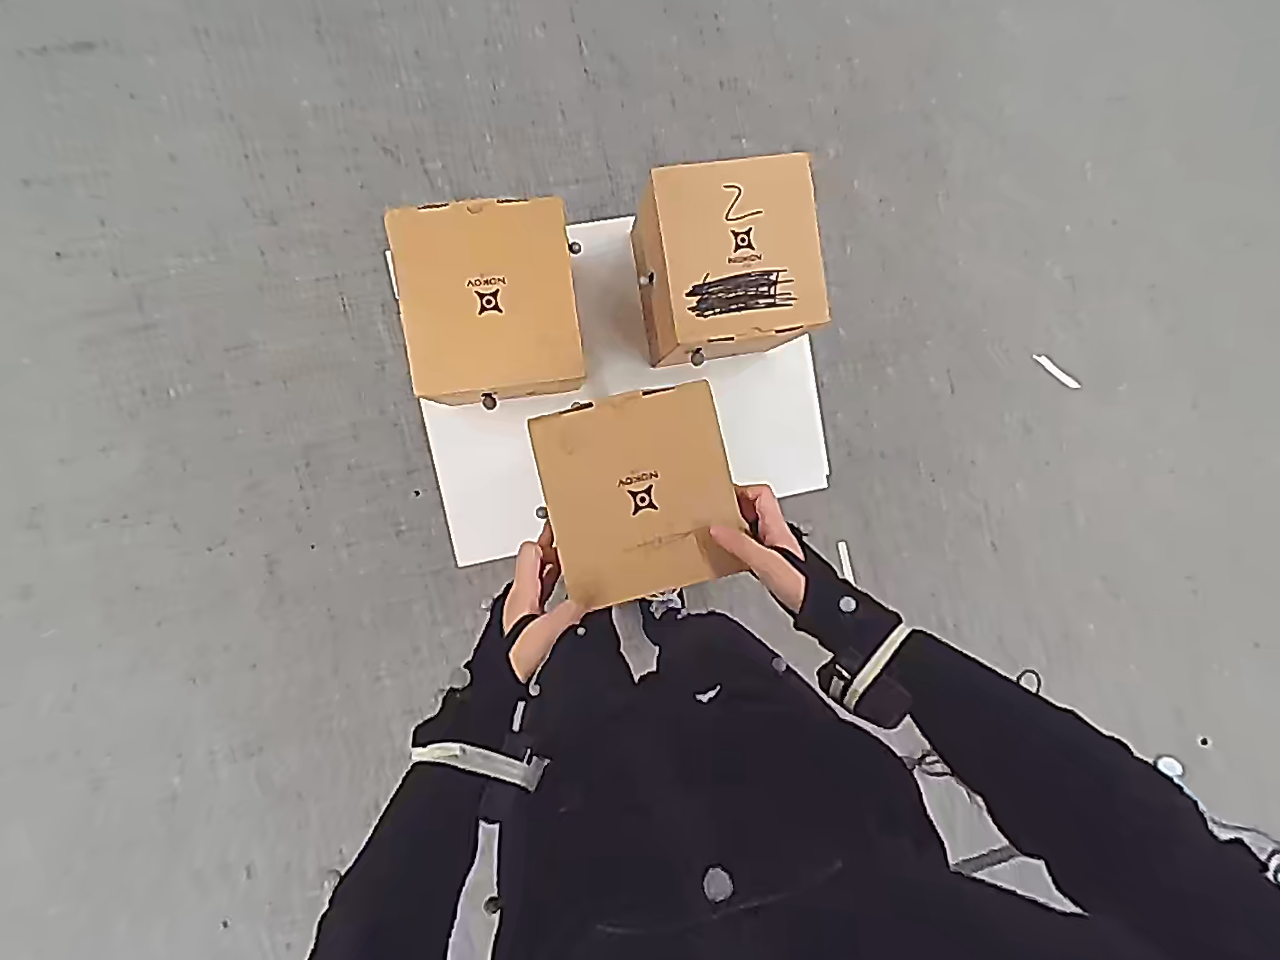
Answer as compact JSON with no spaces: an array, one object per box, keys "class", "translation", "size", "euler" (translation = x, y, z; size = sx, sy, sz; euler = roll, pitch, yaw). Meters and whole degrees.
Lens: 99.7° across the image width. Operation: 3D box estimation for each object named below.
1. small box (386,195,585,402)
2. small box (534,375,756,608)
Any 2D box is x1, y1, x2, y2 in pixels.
[{"class":"small box","translation":[-0.153,-0.182,0.592],"size":[0.168,0.176,0.179],"euler":[-9,95,-8]},{"class":"small box","translation":[-0.003,0.010,0.548],"size":[0.168,0.176,0.179],"euler":[-14,92,-5]}]
